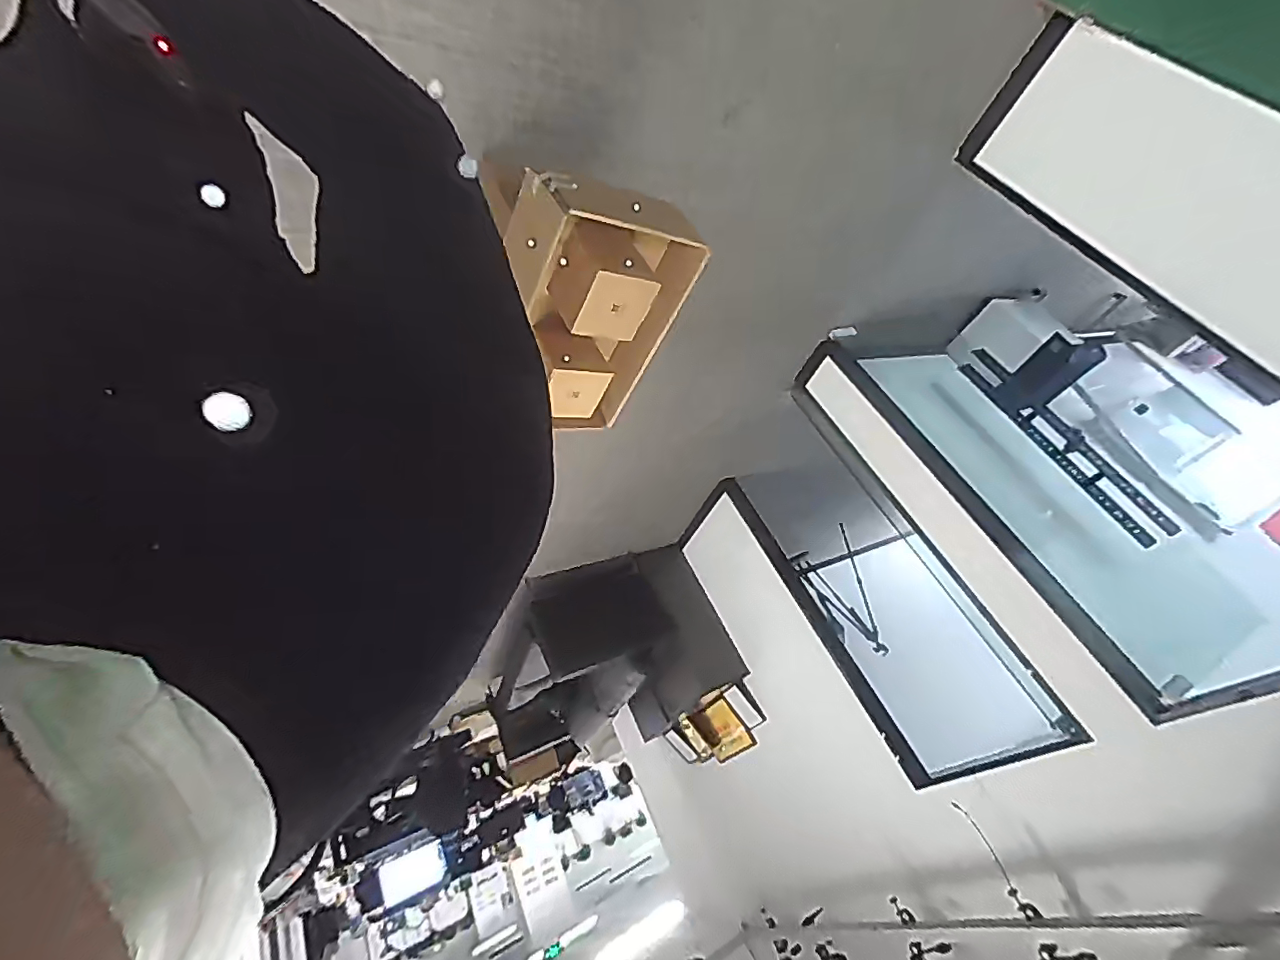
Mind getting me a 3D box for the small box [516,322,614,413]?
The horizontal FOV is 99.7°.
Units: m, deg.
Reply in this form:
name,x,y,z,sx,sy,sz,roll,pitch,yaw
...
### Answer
name,x,y,z,sx,sy,sz,roll,pitch,yaw
small box,-0.204,-0.296,1.431,0.179,0.176,0.168,-4,144,-37
